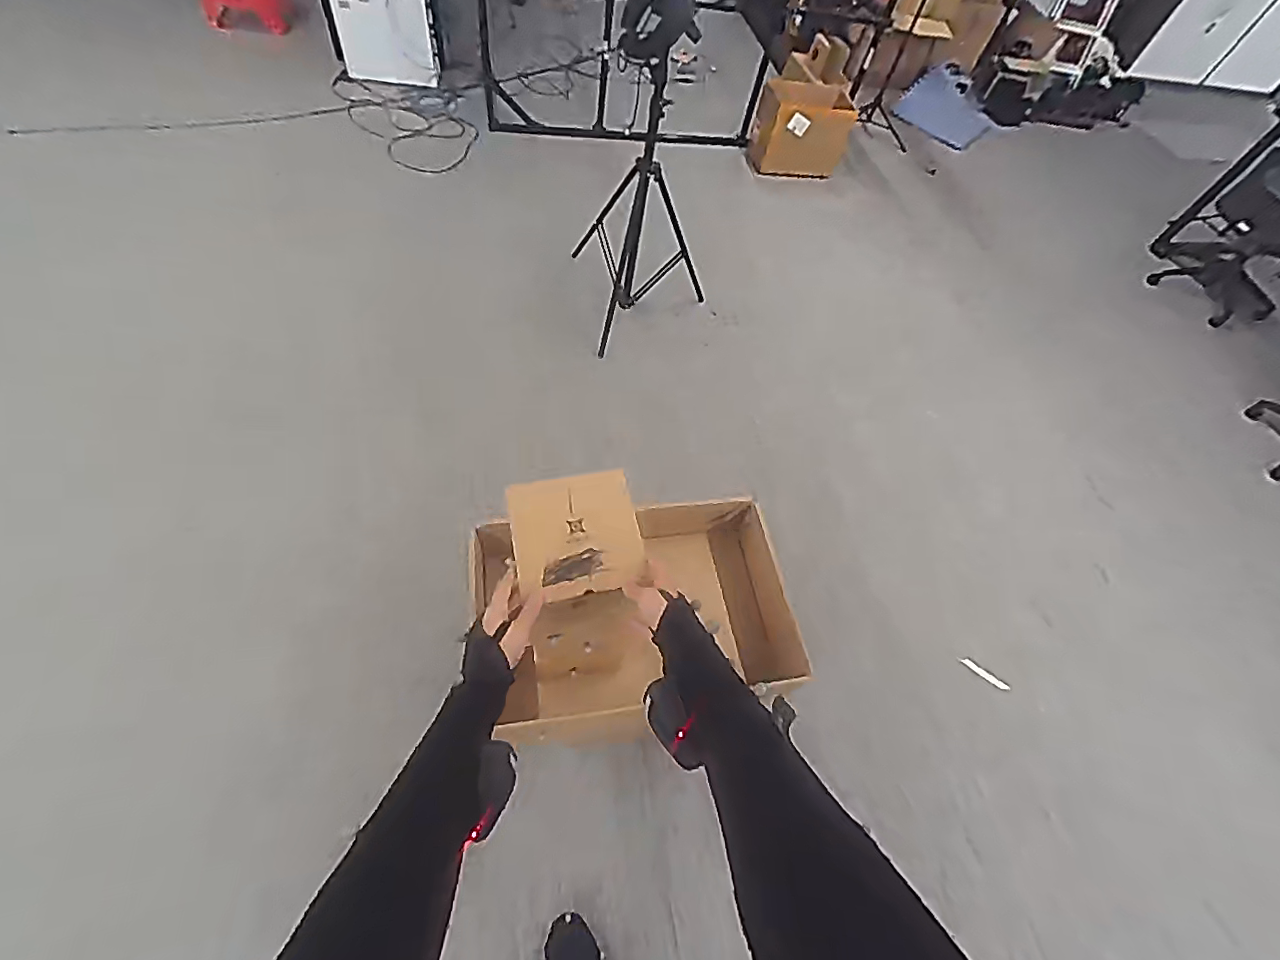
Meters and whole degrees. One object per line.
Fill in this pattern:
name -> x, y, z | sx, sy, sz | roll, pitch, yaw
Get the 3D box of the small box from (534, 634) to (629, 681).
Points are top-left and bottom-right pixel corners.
small box -> -0.124, 0.277, 1.057 | 0.168, 0.176, 0.179 | -5, 60, -12

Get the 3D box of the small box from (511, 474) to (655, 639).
small box -> -0.086, 0.116, 0.773 | 0.168, 0.176, 0.179 | -8, 60, -14

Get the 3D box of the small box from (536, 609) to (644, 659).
small box -> -0.098, 0.188, 0.922 | 0.168, 0.176, 0.179 | -6, 60, -12
